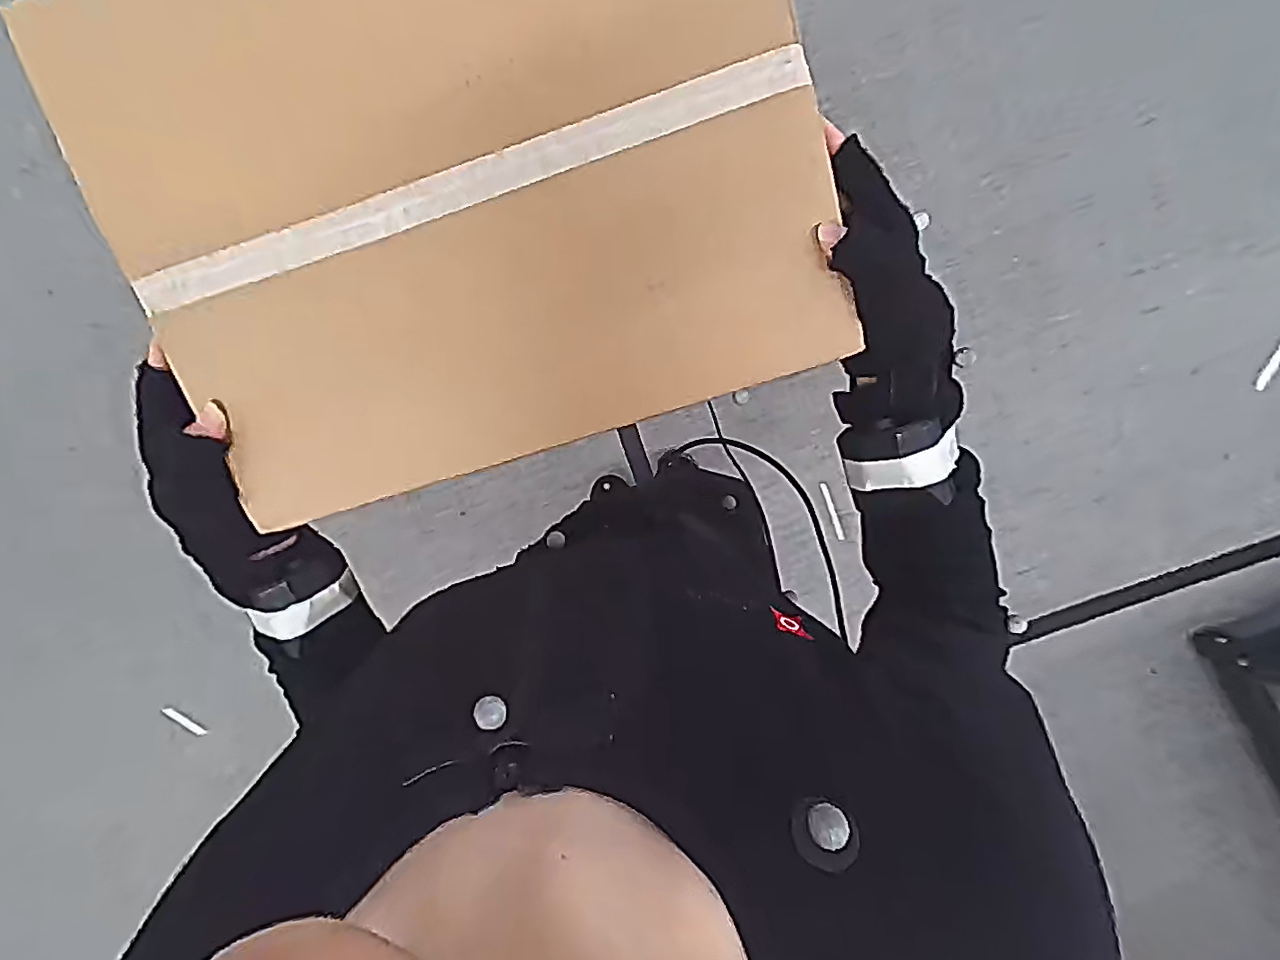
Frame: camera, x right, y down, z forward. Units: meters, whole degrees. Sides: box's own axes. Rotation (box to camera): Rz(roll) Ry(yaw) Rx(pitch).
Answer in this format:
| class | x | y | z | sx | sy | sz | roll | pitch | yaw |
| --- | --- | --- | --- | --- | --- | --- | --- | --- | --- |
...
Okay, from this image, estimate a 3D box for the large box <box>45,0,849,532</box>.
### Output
| class | x | y | z | sx | sy | sz | roll | pitch | yaw |
| --- | --- | --- | --- | --- | --- | --- | --- | --- | --- |
| large box | -0.099 | -0.199 | 0.463 | 0.408 | 0.320 | 0.320 | -17 | 102 | 5 |
